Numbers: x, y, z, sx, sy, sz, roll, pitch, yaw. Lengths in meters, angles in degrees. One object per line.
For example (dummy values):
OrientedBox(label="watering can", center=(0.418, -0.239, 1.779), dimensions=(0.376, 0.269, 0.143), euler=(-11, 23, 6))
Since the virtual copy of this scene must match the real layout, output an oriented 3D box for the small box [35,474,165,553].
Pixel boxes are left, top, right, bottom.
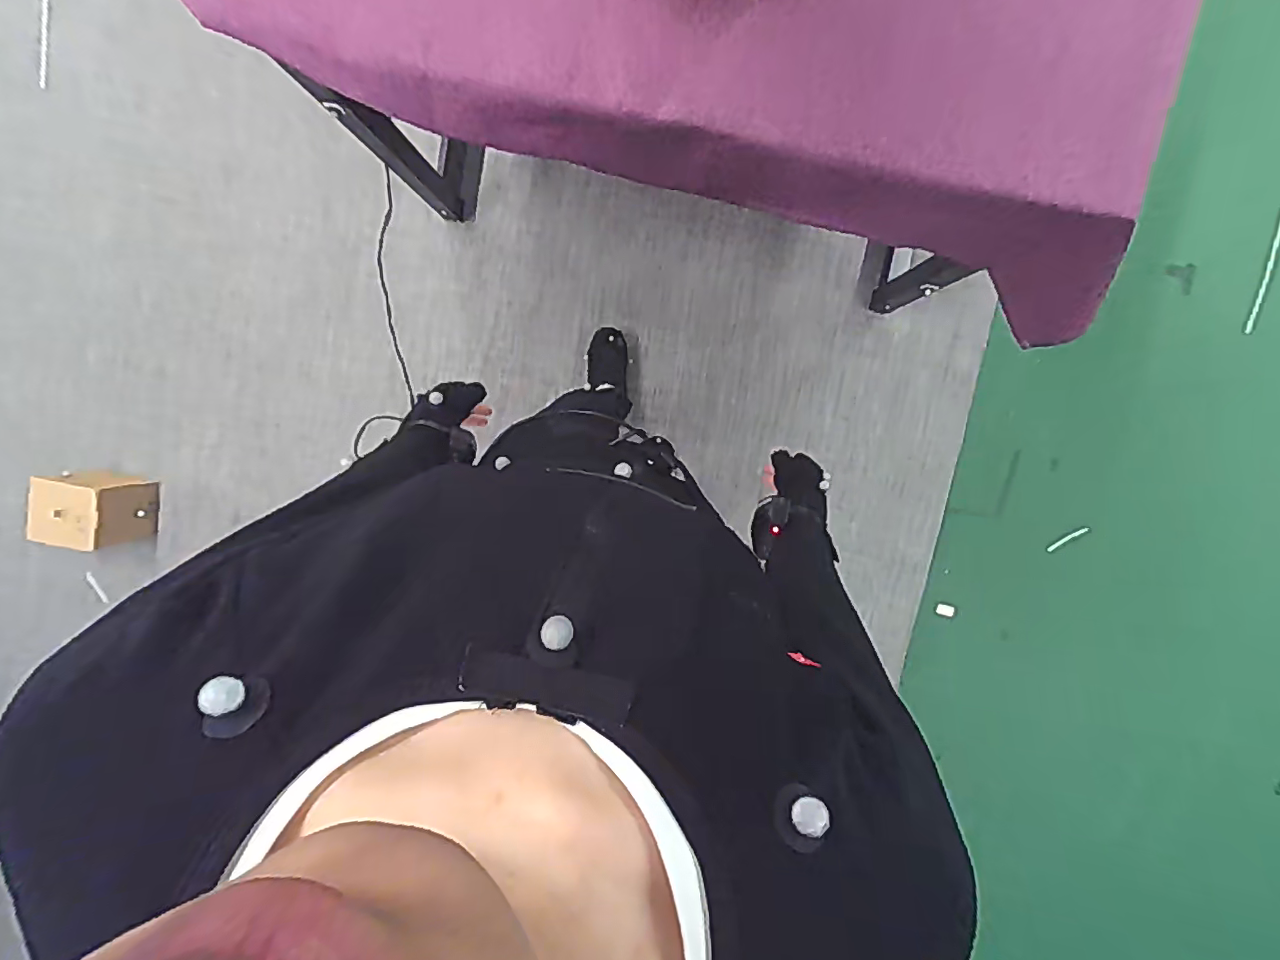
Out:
OrientedBox(label="small box", center=(-1.426, 0.081, 1.434), dimensions=(0.179, 0.176, 0.168), euler=(10, 97, 0))
